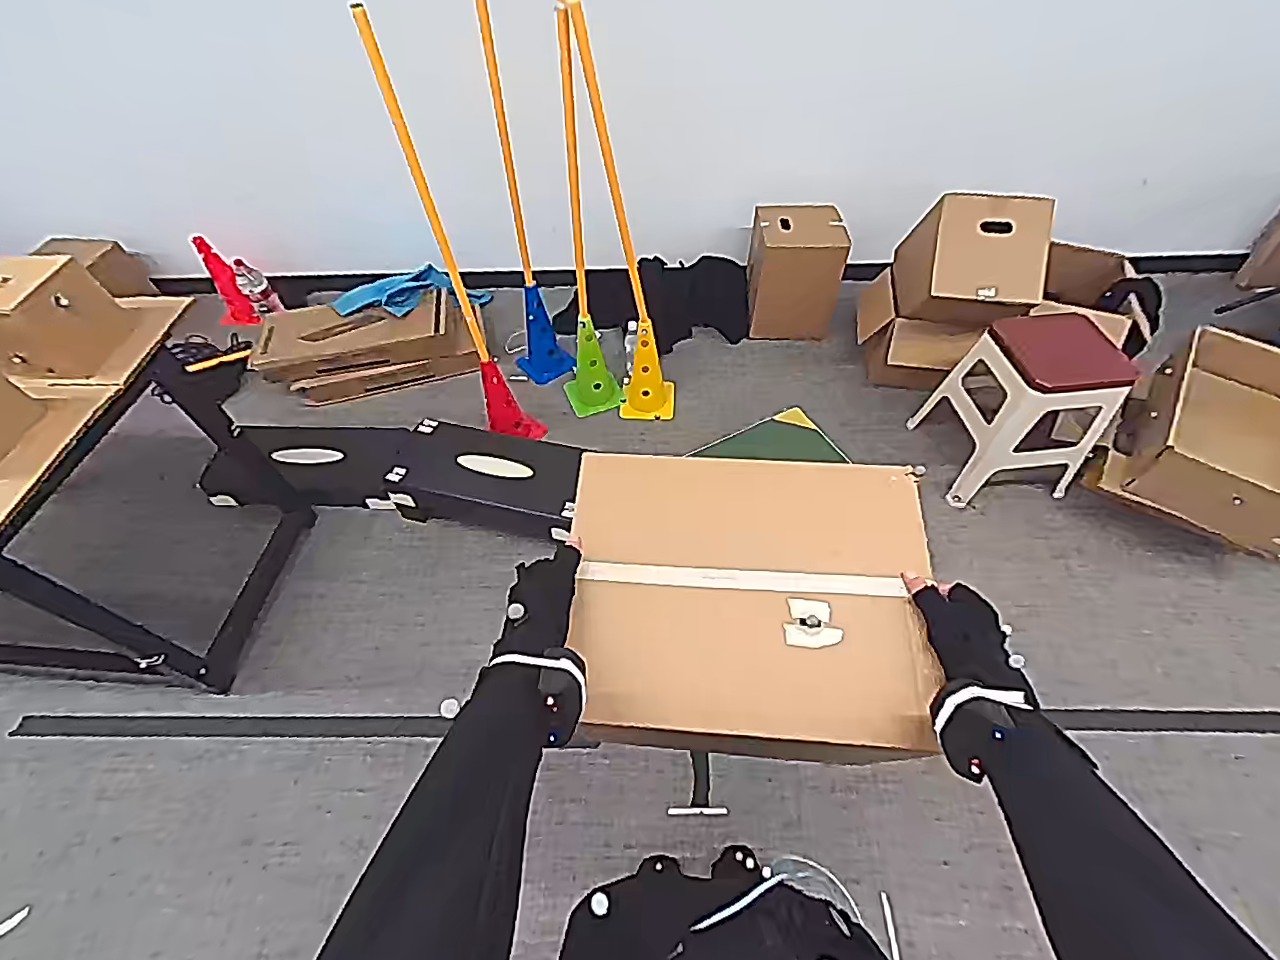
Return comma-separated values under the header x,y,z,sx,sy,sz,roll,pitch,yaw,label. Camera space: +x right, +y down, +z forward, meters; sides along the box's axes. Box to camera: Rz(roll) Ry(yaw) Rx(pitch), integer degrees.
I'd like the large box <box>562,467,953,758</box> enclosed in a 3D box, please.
x,y,z,sx,sy,sz,roll,pitch,yaw,label
0.127,0.196,0.747,0.408,0.320,0.320,2,62,4,large box
